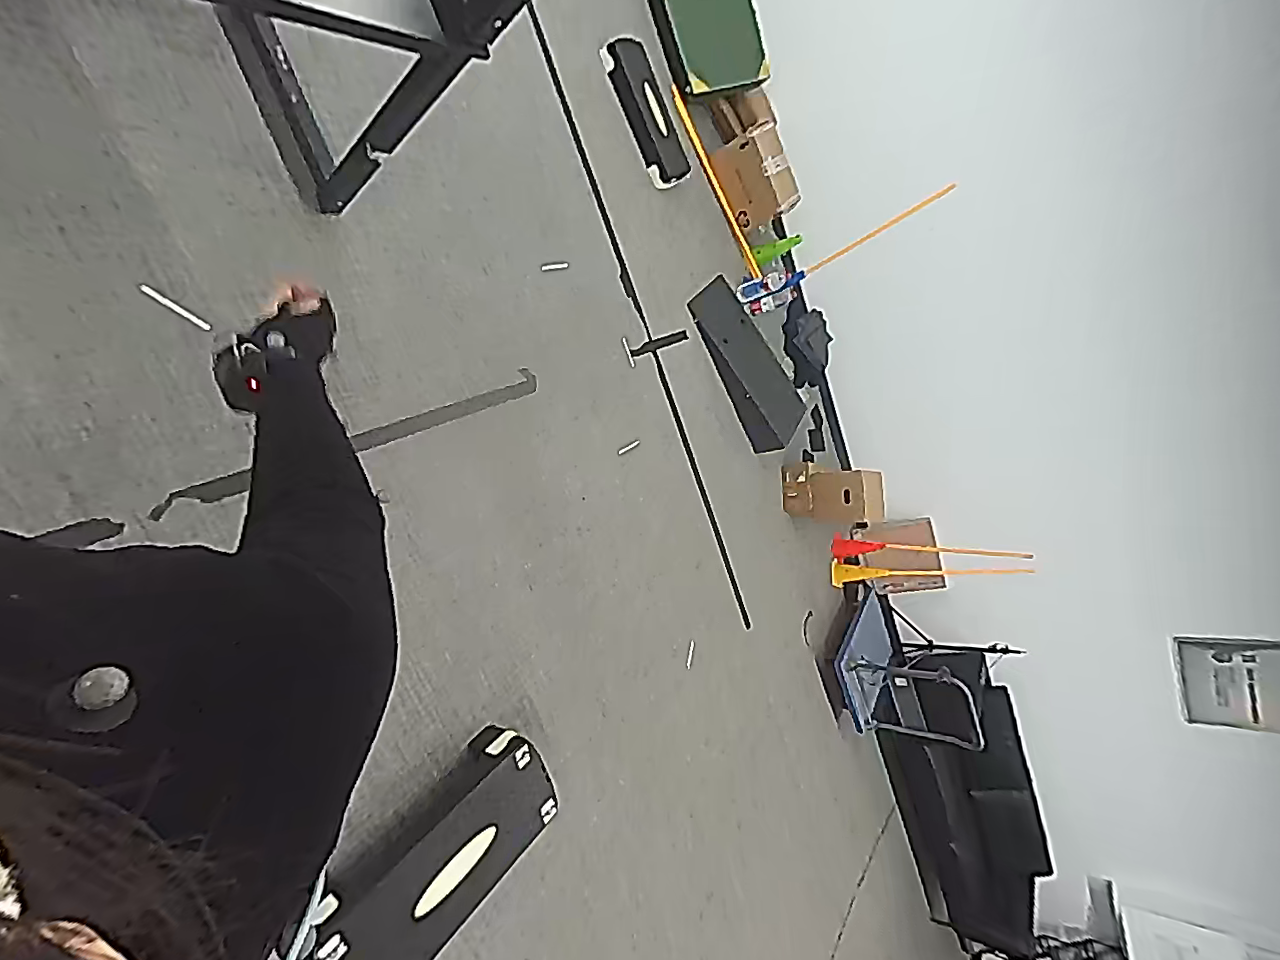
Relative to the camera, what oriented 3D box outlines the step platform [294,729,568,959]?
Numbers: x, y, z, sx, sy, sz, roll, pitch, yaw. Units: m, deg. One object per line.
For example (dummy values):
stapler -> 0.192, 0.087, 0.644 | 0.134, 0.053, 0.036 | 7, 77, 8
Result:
step platform -> -0.500, 0.990, 1.444 | 0.684, 0.204, 0.286 | -25, 101, -50
